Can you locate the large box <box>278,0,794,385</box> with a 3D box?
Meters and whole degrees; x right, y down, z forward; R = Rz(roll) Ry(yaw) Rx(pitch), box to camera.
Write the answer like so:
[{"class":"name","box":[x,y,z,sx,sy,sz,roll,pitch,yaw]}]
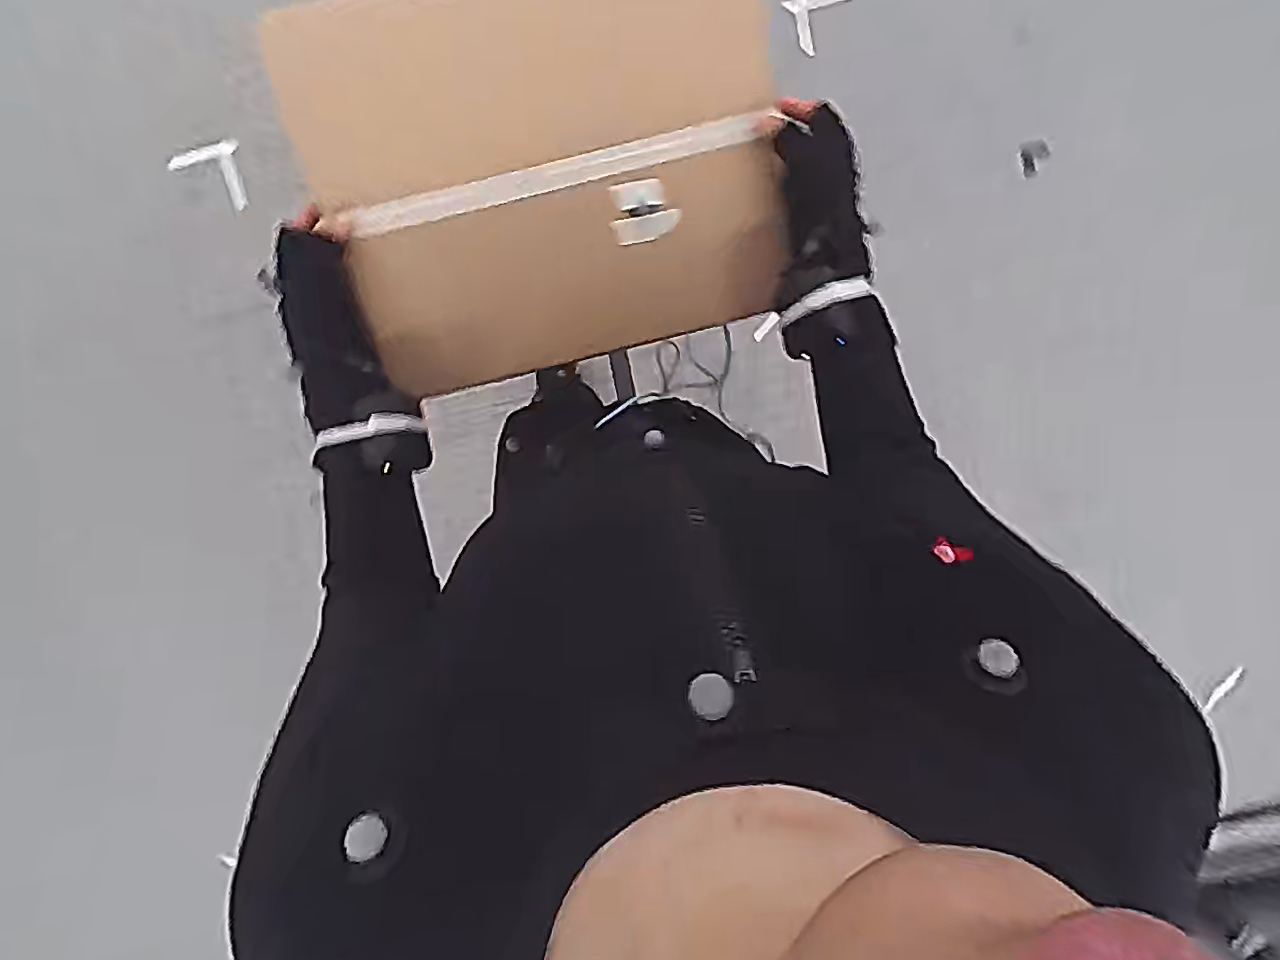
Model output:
[{"class":"large box","box":[-0.088,-0.321,0.628,0.408,0.320,0.320,-14,108,-2]}]
